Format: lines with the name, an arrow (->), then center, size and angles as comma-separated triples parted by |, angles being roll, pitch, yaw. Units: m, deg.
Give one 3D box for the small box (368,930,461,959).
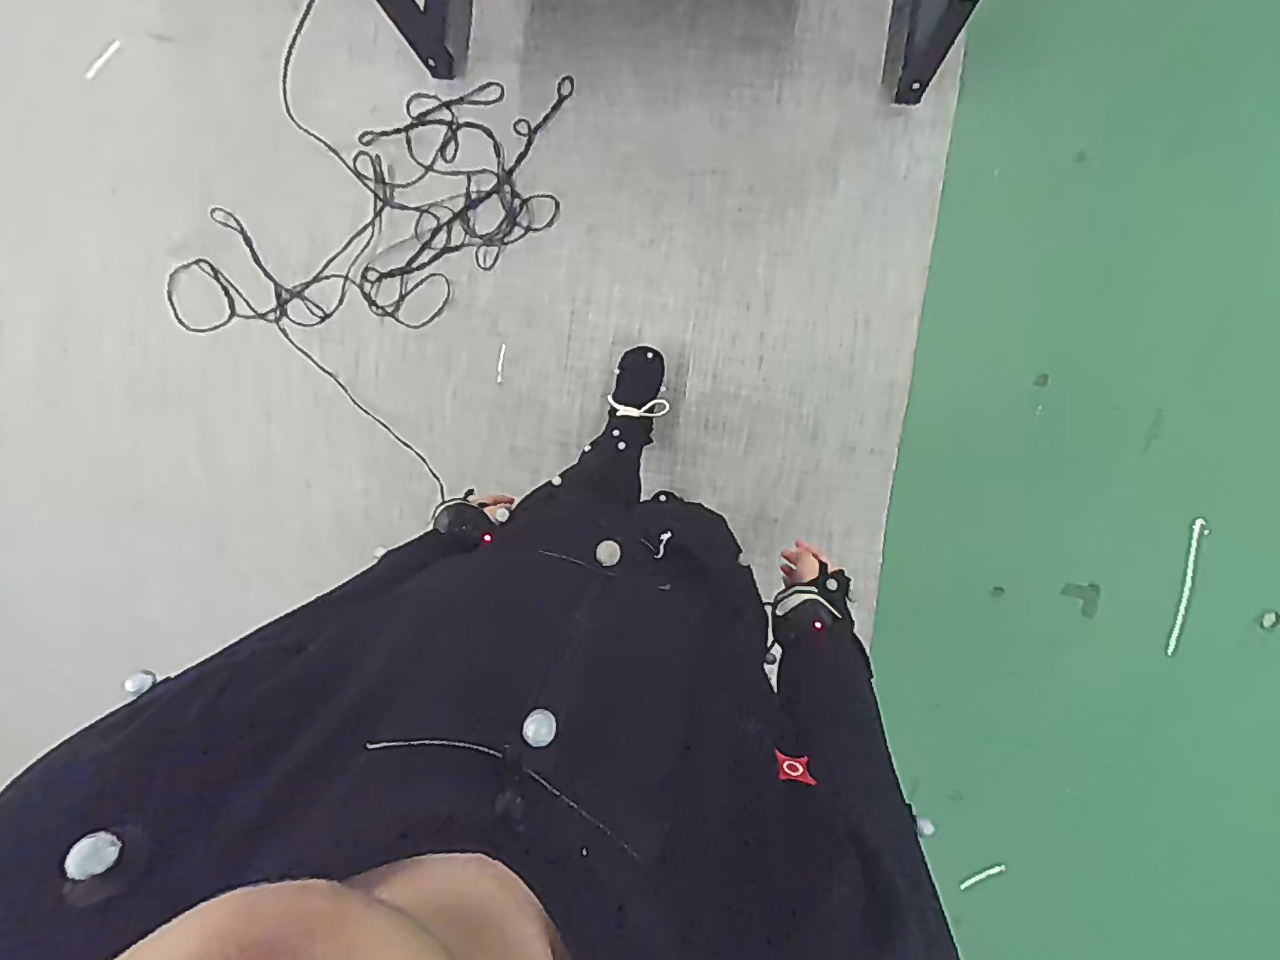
small box -> -0.486, 1.056, 1.077 | 0.179, 0.176, 0.168 | 15, 96, 5
